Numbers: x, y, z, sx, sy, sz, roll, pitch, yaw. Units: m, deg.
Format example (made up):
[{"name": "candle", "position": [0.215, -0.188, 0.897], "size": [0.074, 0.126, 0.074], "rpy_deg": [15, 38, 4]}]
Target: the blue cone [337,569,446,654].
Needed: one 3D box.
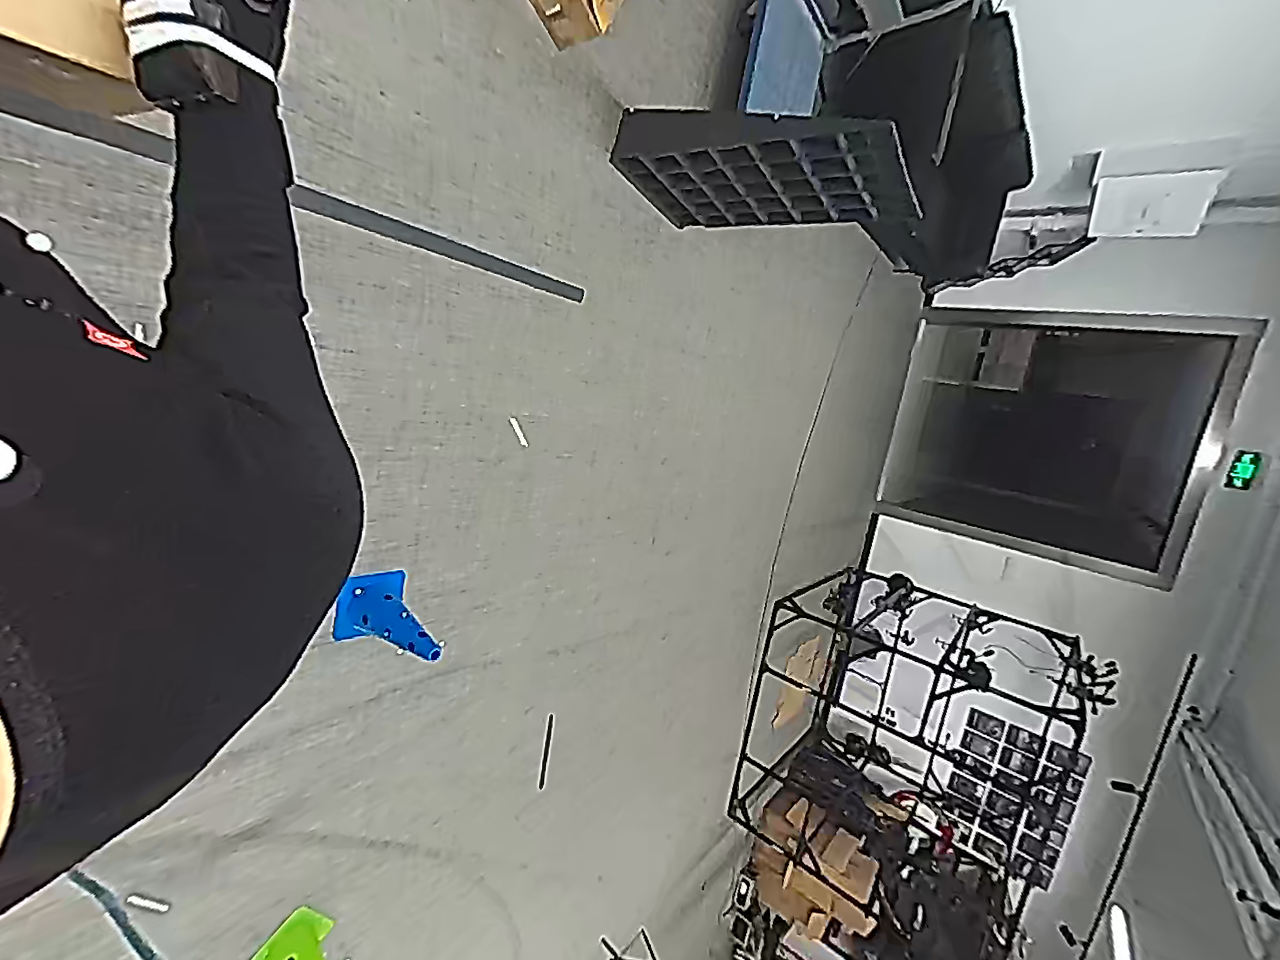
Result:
[{"name": "blue cone", "position": [-0.686, 0.408, 1.544], "size": [0.192, 0.380, 0.193], "rpy_deg": [3, 102, -54]}]

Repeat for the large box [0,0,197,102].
[{"name": "large box", "position": [-0.540, -0.469, 0.293], "size": [0.408, 0.320, 0.320], "rpy_deg": [-8, 117, -52]}]

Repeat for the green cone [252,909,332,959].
[{"name": "green cone", "position": [-0.964, 1.504, 1.591], "size": [0.202, 0.368, 0.200], "rpy_deg": [-47, 137, -33]}]
